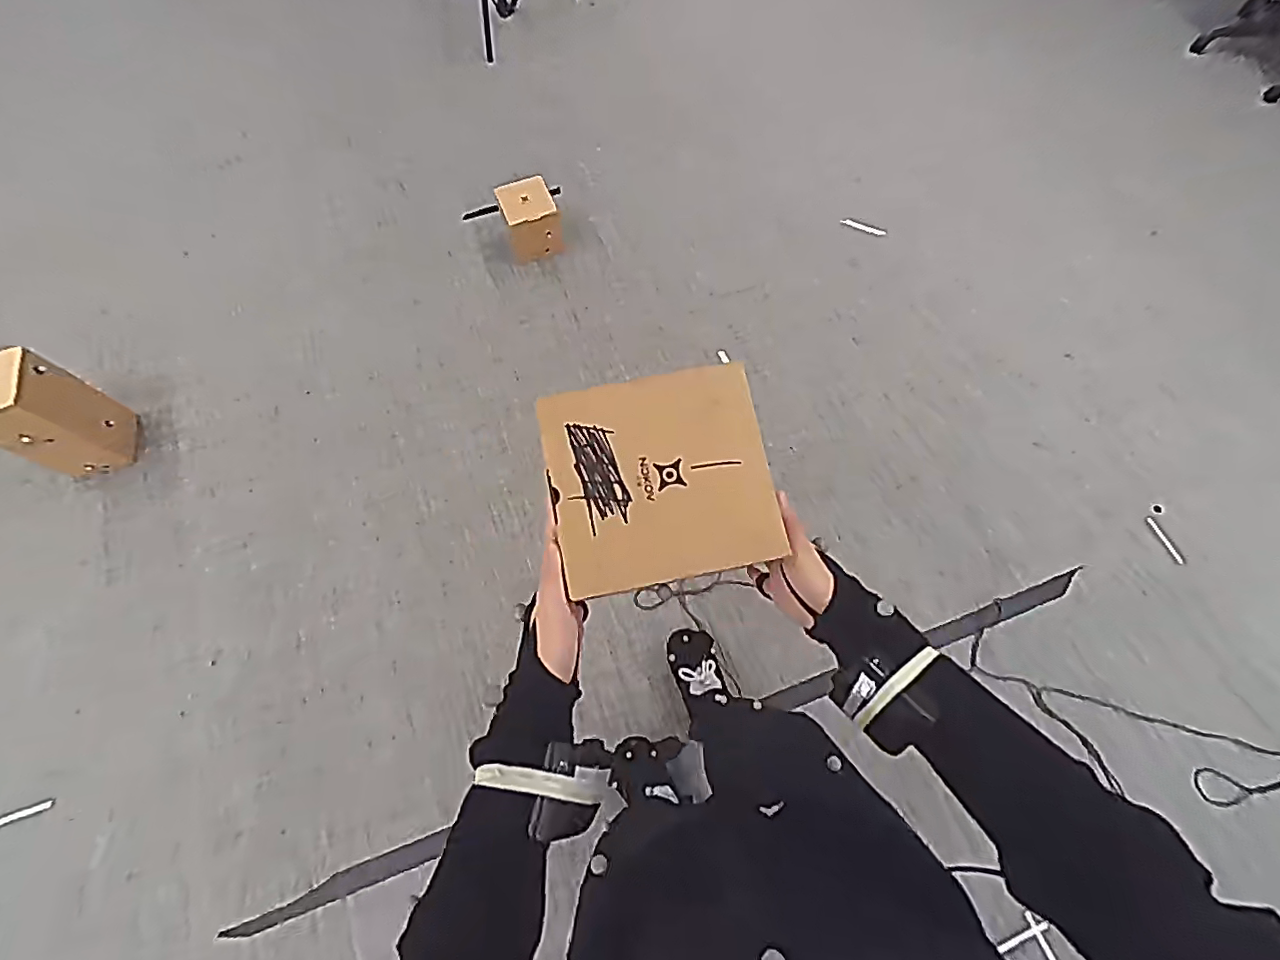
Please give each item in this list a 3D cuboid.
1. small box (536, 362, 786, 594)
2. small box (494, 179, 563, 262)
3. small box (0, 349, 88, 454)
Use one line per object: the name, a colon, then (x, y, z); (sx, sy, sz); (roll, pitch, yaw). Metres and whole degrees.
small box: (0.014, 0.011, 0.506); (0.179, 0.176, 0.168); (-11, 79, -3)
small box: (-0.369, -0.859, 1.811); (0.168, 0.176, 0.179); (-22, 69, -10)
small box: (-1.536, -0.191, 1.344); (0.168, 0.176, 0.179); (-16, 70, -6)
